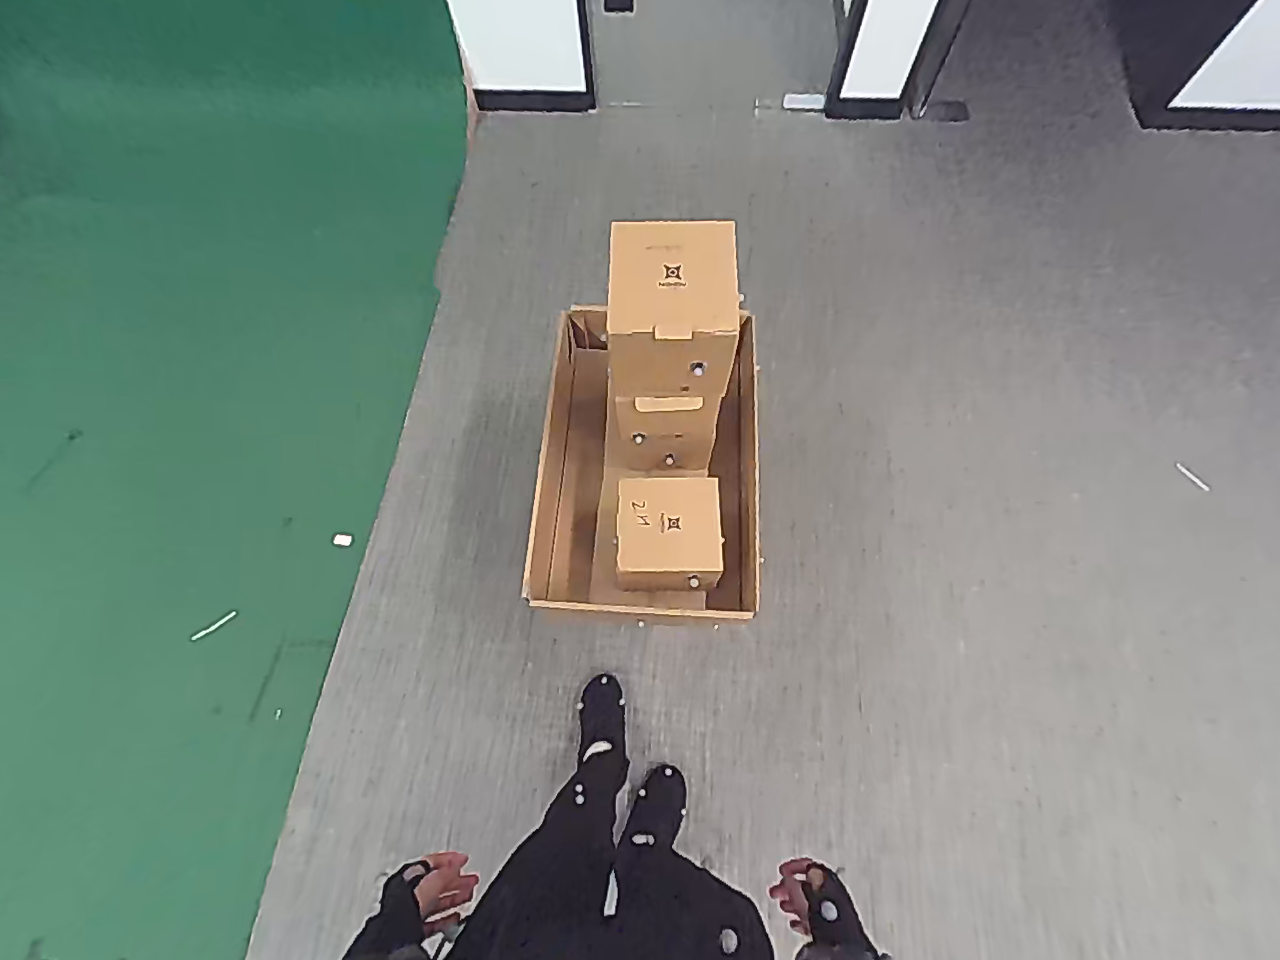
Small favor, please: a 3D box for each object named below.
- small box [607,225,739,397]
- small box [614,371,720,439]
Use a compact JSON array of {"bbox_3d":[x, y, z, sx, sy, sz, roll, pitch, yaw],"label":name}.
[{"bbox_3d":[0.046,-0.230,0.765,0.168,0.176,0.179,1,70,1],"label":"small box"},{"bbox_3d":[0.044,-0.176,0.919,0.168,0.176,0.179,-2,70,1],"label":"small box"}]
